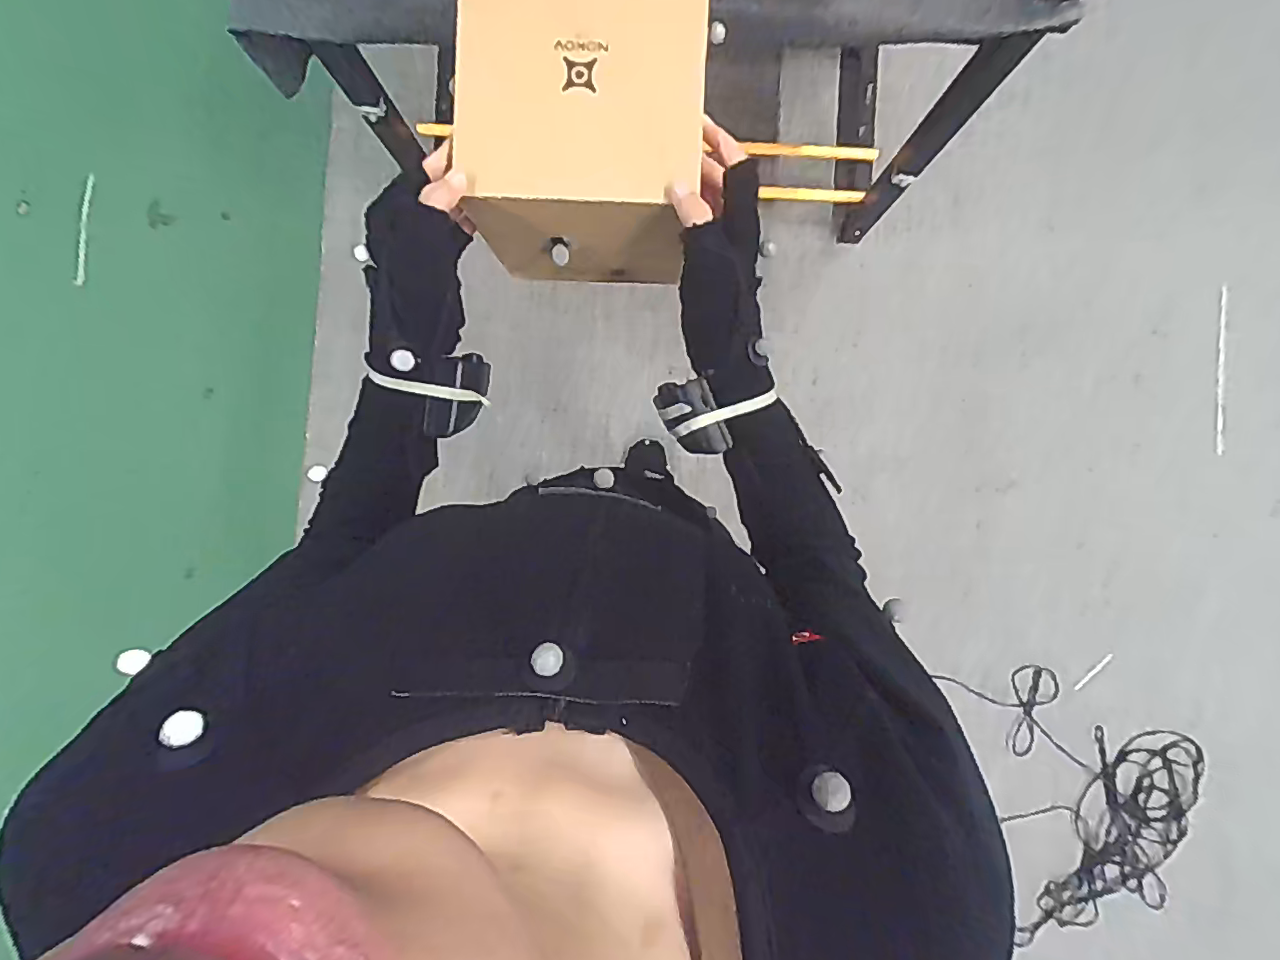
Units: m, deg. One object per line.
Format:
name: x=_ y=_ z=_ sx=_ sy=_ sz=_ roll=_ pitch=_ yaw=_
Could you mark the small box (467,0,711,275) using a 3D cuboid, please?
small box: x=-0.033 y=-0.281 z=0.444 sx=0.168 sy=0.176 sz=0.179 roll=1 pitch=92 yaw=1
